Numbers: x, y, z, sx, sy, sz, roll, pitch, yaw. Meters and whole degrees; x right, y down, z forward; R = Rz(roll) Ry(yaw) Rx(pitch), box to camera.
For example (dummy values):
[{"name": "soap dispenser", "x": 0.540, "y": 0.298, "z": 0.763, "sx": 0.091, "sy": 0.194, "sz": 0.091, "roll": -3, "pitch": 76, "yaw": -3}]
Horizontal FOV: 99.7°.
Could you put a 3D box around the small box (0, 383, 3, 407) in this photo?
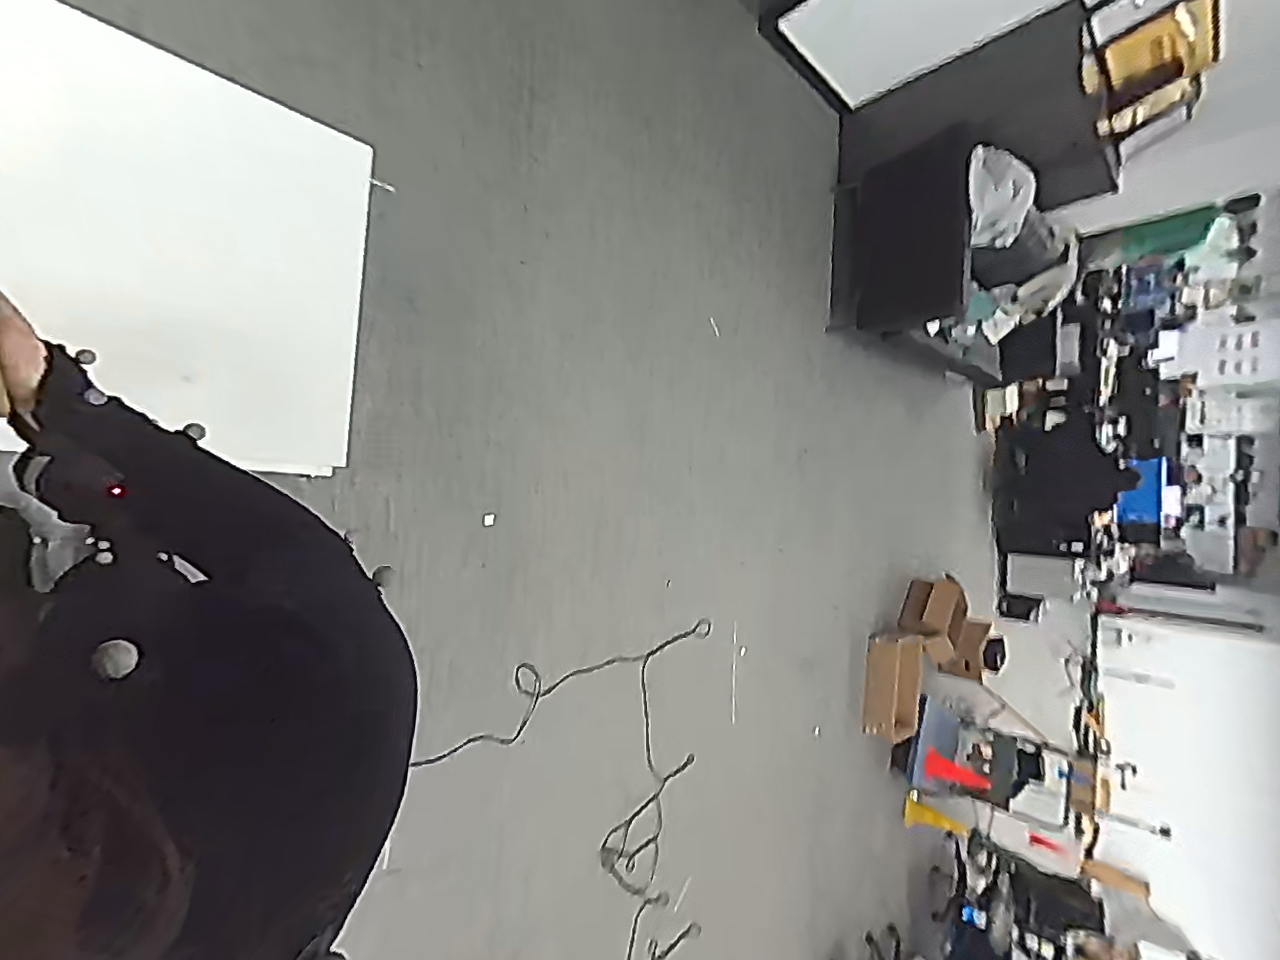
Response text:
[{"name": "small box", "x": -0.568, "y": -0.125, "z": 0.356, "sx": 0.168, "sy": 0.176, "sz": 0.179, "roll": -14, "pitch": 100, "yaw": -46}]
